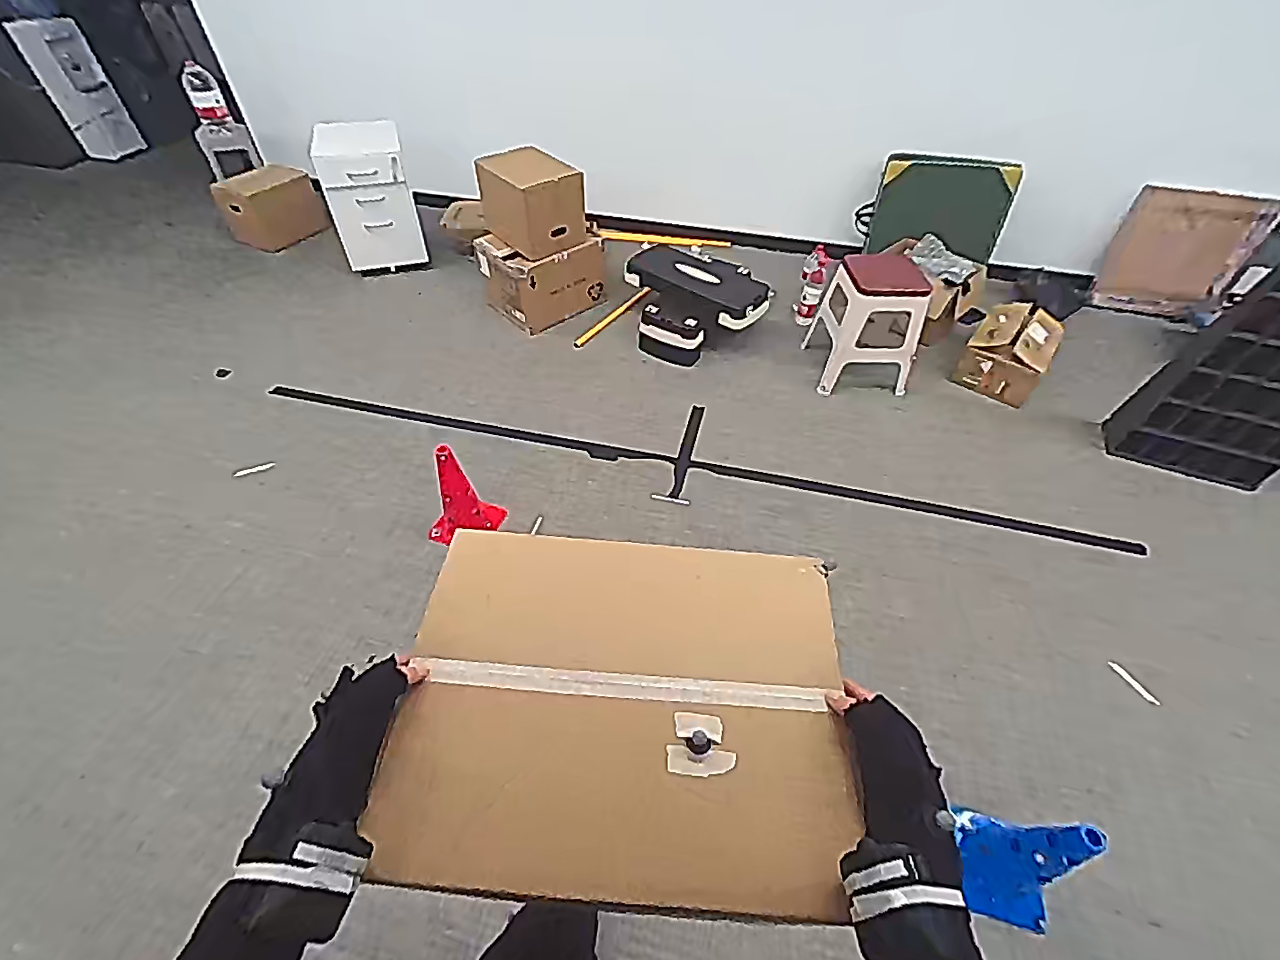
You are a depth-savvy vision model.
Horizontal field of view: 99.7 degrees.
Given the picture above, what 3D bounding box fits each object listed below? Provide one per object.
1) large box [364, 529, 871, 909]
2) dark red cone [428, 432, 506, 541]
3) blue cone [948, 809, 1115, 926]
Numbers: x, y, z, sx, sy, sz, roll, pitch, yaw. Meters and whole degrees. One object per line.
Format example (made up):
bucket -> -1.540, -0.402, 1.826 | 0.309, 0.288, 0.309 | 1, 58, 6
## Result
large box -> -0.017, 0.281, 0.624 | 0.408, 0.320, 0.320 | 5, 51, 0
dark red cone -> -0.567, 0.009, 1.679 | 0.201, 0.394, 0.202 | 17, 50, 11
blue cone -> 0.808, 0.761, 1.102 | 0.192, 0.380, 0.193 | 15, 49, 10
